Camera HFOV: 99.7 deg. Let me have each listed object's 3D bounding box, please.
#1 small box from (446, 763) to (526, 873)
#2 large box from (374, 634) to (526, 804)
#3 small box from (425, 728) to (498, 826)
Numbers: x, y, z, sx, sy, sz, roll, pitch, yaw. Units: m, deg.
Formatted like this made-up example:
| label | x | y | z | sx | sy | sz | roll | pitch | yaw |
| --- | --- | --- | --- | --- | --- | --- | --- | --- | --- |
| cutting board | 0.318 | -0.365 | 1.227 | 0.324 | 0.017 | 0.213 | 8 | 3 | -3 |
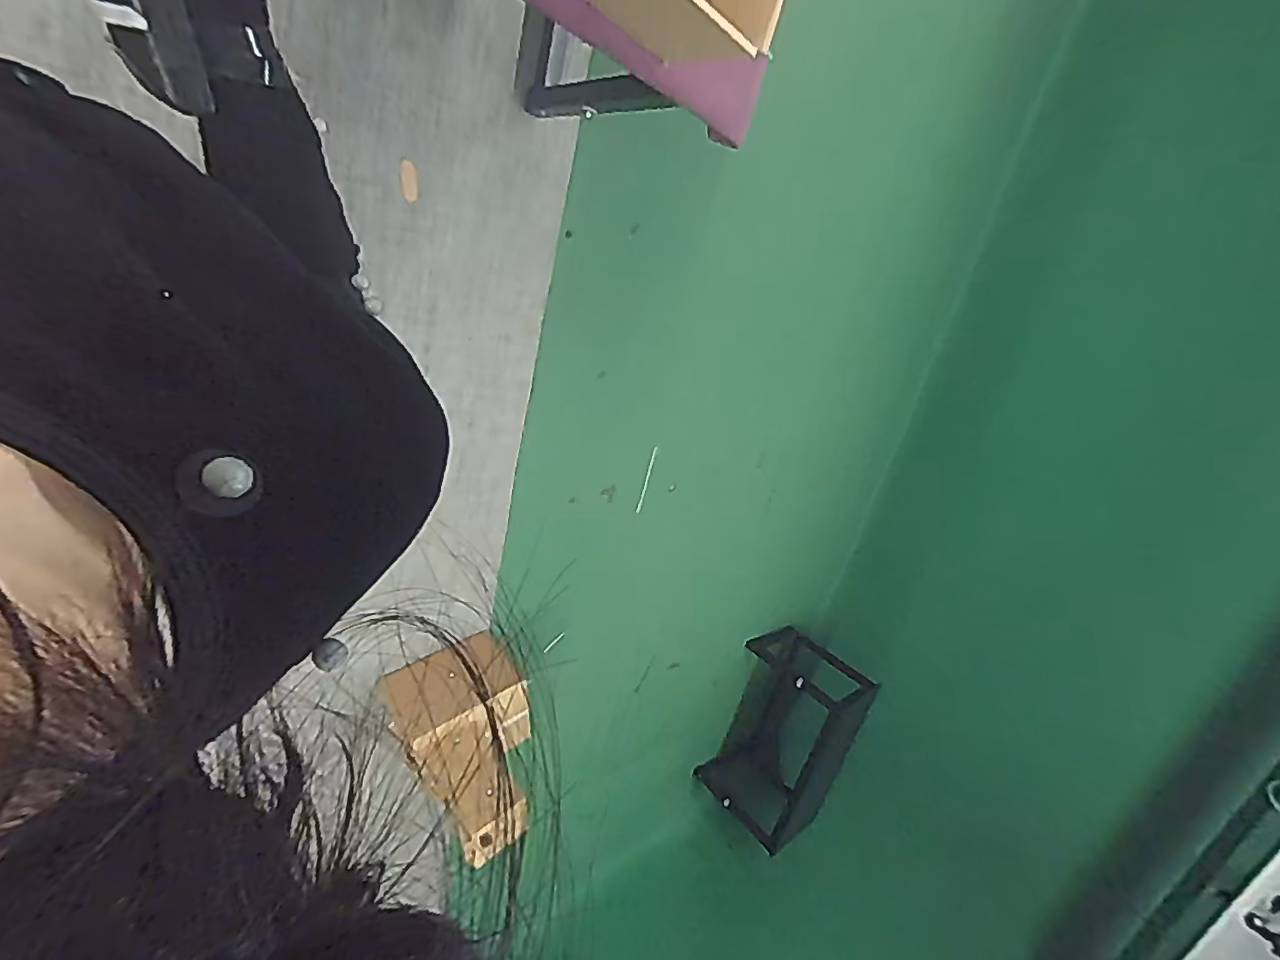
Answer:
| label | x | y | z | sx | sy | sz | roll | pitch | yaw |
| --- | --- | --- | --- | --- | --- | --- | --- | --- | --- |
| small box | -0.460 | 0.990 | 1.597 | 0.179 | 0.176 | 0.168 | -20 | 126 | -38 |
| large box | -0.665 | 0.827 | 1.924 | 0.408 | 0.320 | 0.320 | -21 | 127 | -38 |
| small box | -0.567 | 0.929 | 1.705 | 0.179 | 0.176 | 0.168 | -15 | 123 | -39 |
